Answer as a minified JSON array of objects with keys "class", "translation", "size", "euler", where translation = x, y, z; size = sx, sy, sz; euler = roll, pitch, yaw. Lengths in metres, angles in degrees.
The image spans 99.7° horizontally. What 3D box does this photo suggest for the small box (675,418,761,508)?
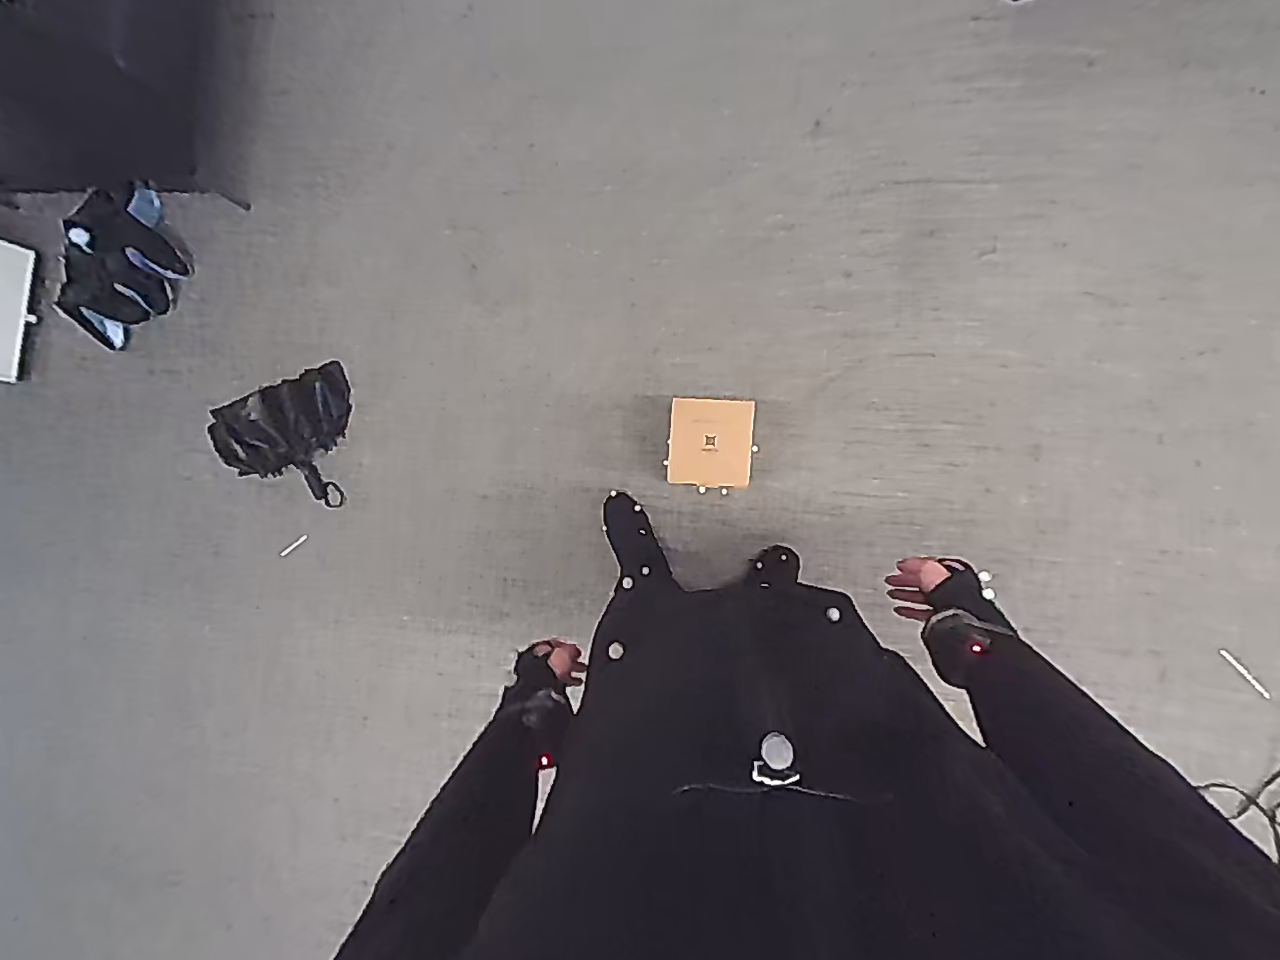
[{"class":"small box","translation":[0.169,-0.031,1.157],"size":[0.168,0.176,0.179],"euler":[2,87,9]}]
